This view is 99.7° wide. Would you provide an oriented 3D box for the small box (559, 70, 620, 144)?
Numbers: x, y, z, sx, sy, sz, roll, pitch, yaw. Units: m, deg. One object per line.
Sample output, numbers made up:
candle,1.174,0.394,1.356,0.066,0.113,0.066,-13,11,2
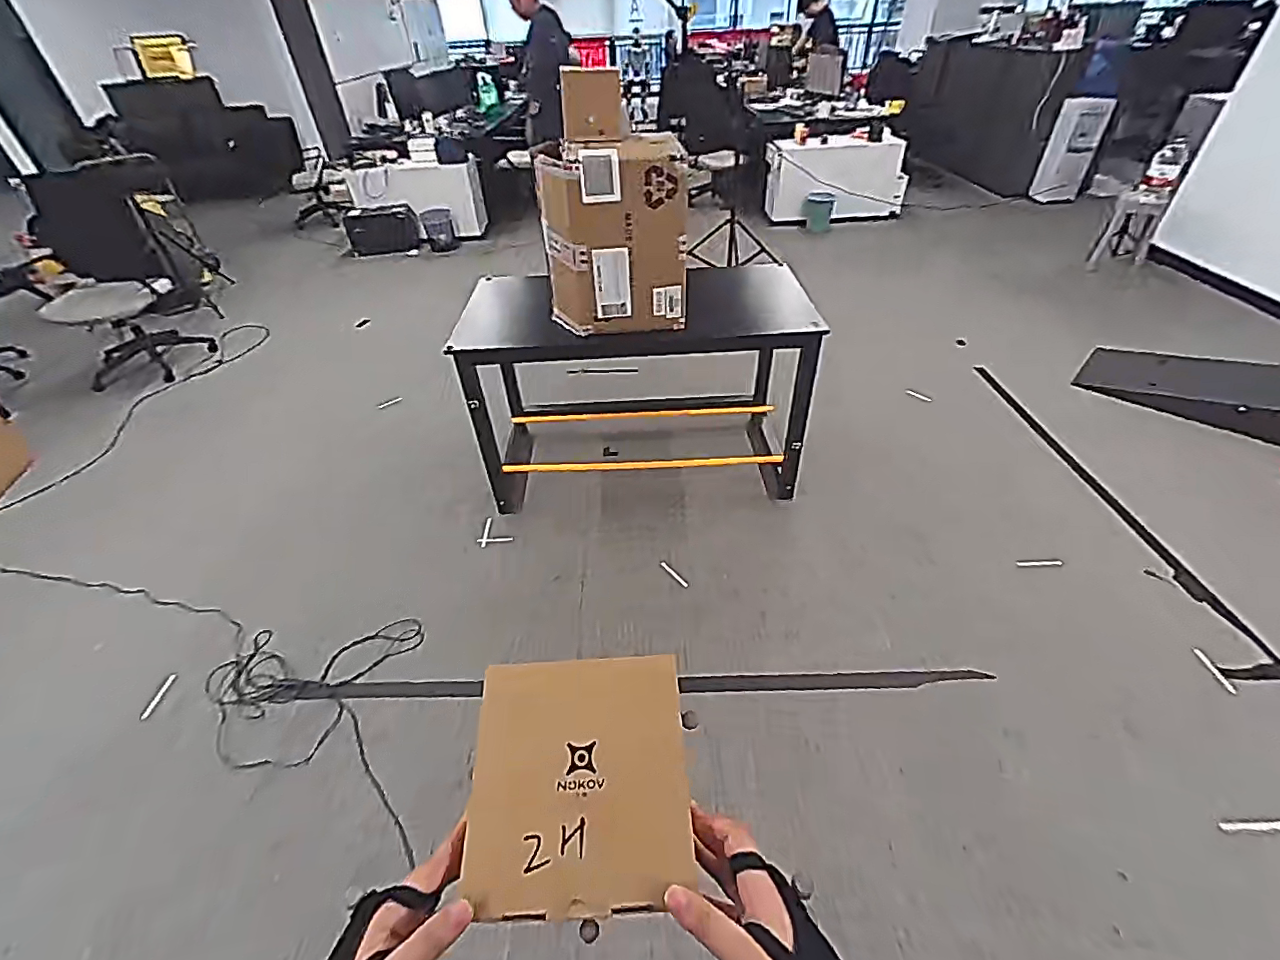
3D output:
small box,-0.148,-1.092,1.580,0.168,0.176,0.179,-5,39,-5
